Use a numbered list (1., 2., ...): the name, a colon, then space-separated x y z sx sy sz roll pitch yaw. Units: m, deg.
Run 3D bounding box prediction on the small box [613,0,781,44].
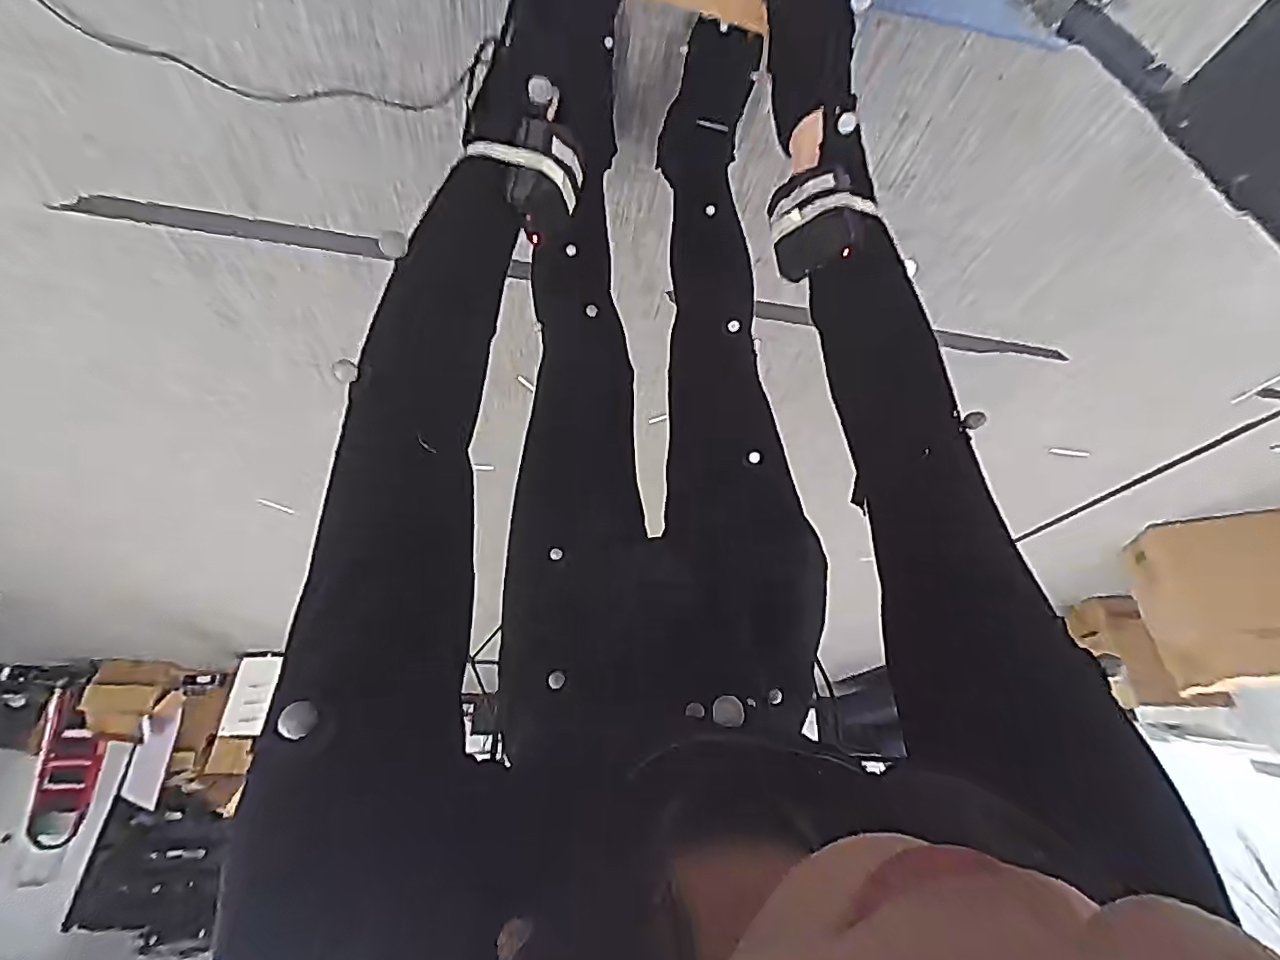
1. small box: 0.037 -0.490 0.426 0.179 0.176 0.168 6 142 -13
